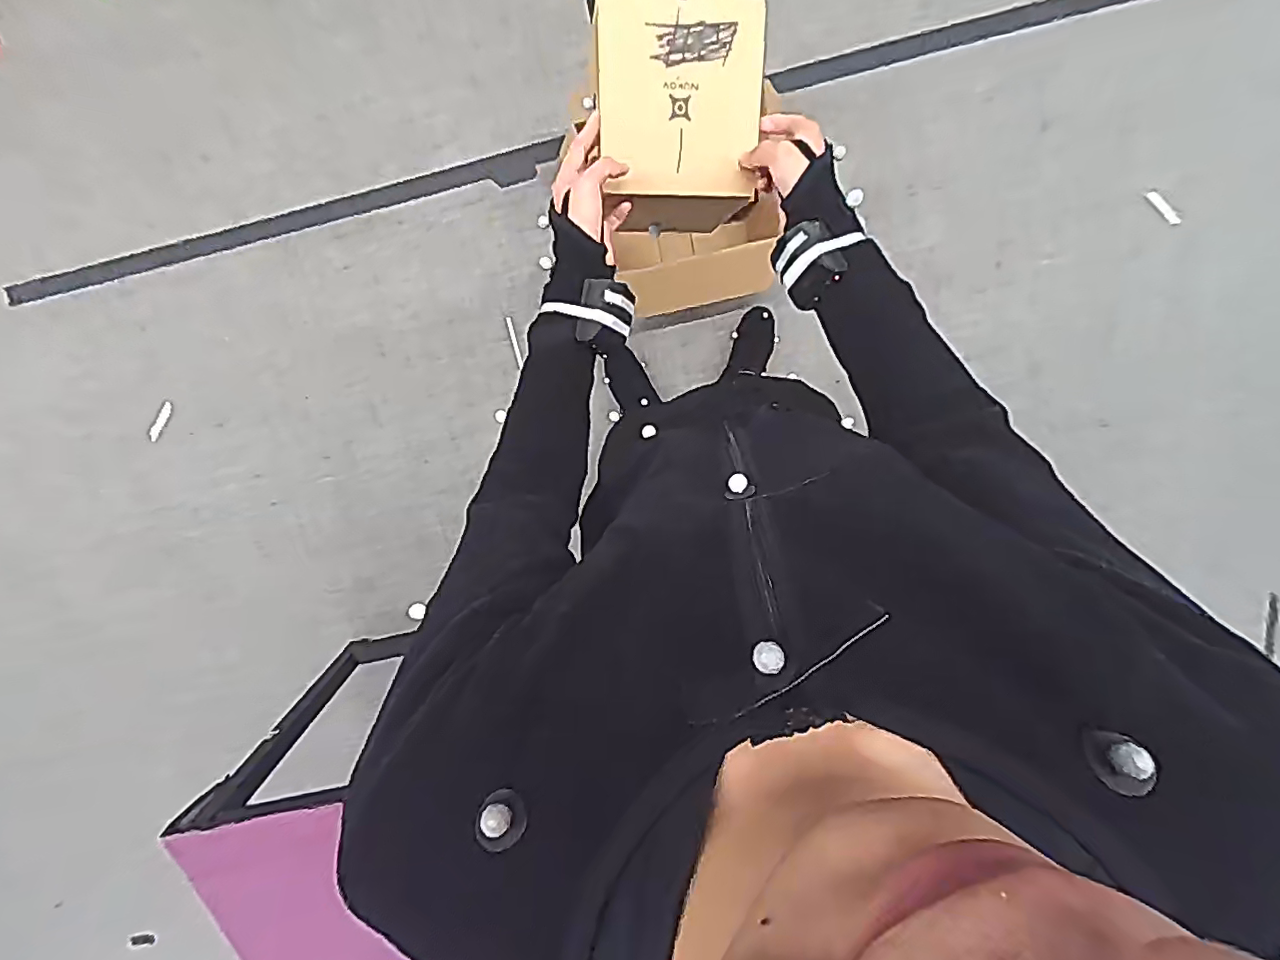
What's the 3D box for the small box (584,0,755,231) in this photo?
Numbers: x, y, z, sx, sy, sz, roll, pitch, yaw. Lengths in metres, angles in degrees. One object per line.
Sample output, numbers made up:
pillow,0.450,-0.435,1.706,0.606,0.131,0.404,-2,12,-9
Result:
small box,0.024,-0.404,0.626,0.168,0.176,0.179,-3,103,-9
